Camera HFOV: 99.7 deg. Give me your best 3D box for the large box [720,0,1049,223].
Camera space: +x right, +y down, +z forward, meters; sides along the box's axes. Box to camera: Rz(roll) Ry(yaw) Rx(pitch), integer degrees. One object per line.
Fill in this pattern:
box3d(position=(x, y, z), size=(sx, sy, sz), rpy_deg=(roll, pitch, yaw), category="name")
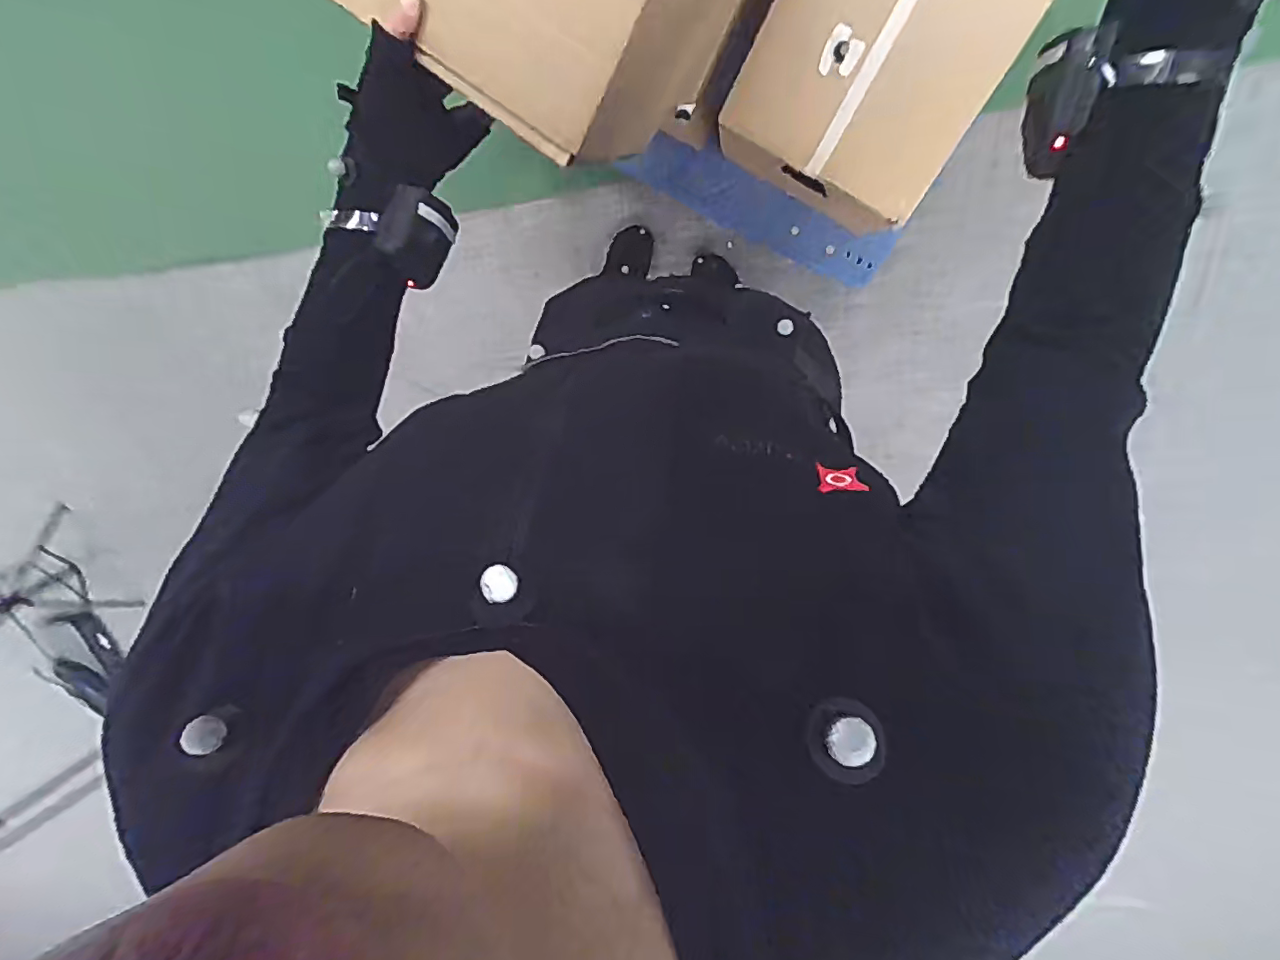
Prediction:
box3d(position=(0.354, -0.662, 0.823), size=(0.320, 0.320, 0.408), rpy_deg=(28, 116, -3), category="large box")
